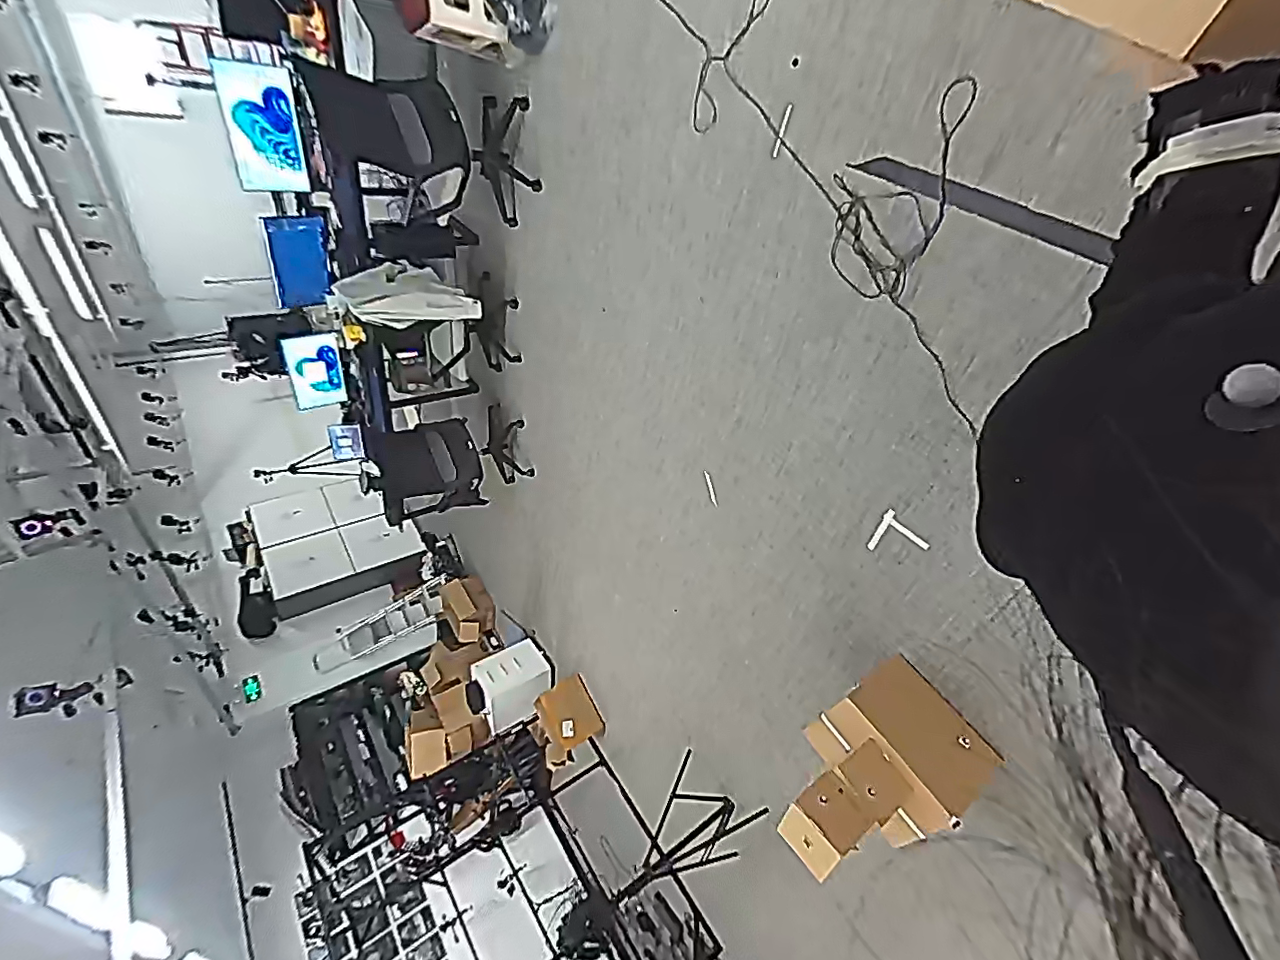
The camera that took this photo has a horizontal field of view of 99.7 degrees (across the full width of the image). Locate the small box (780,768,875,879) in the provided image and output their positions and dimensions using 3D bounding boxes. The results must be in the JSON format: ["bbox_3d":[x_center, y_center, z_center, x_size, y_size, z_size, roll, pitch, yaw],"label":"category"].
[{"bbox_3d":[0.528,0.953,1.514,0.168,0.176,0.179,41,137,39],"label":"small box"}]

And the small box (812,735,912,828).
[{"bbox_3d":[0.657,0.895,1.596,0.179,0.176,0.168,53,142,27],"label":"small box"}]
